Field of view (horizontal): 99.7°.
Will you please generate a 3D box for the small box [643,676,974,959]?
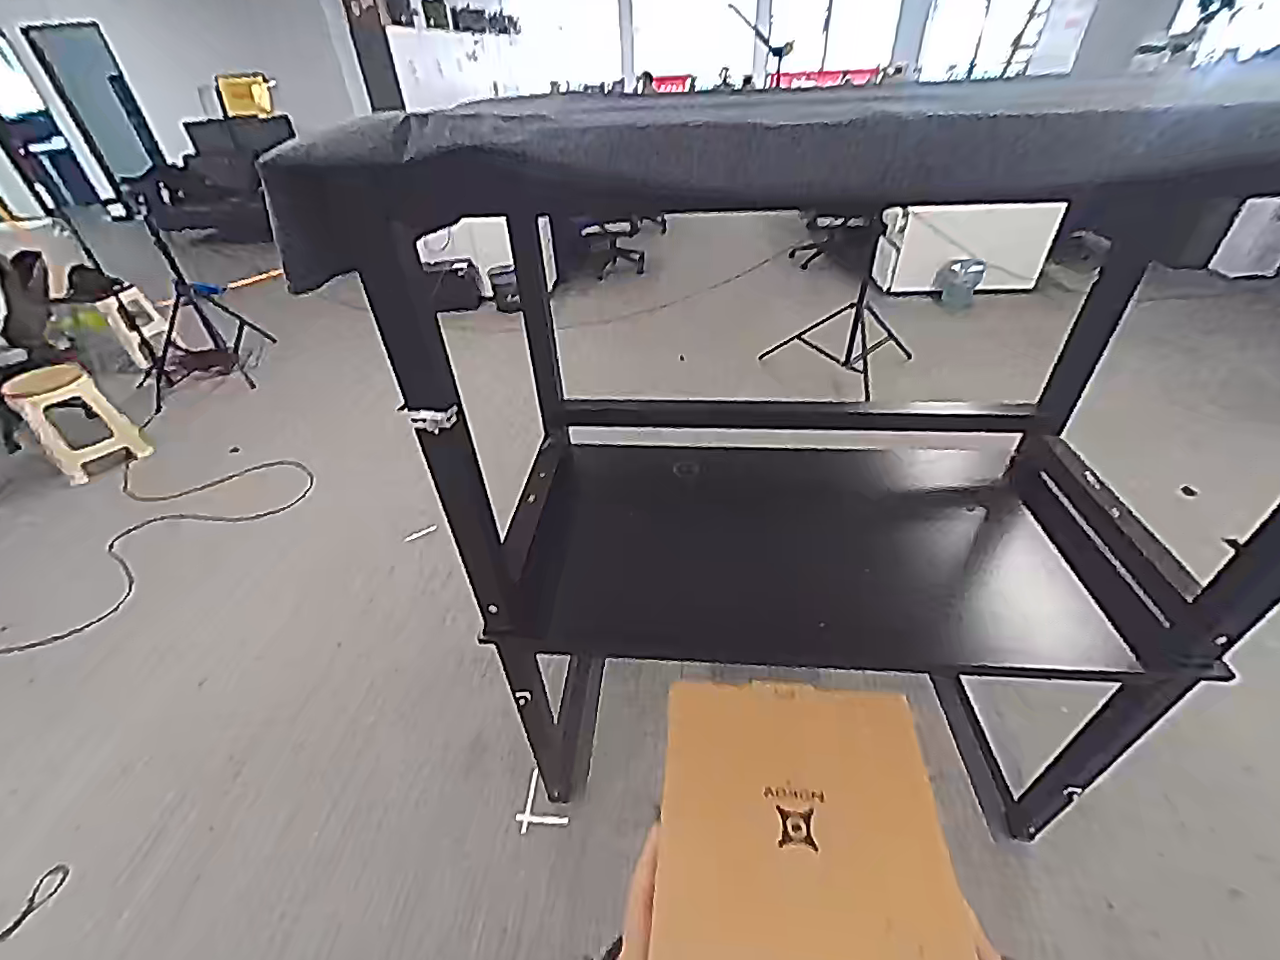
[{"bbox_3d":[0.100,0.261,0.372,0.168,0.176,0.179,0,38,9],"label":"small box"}]
